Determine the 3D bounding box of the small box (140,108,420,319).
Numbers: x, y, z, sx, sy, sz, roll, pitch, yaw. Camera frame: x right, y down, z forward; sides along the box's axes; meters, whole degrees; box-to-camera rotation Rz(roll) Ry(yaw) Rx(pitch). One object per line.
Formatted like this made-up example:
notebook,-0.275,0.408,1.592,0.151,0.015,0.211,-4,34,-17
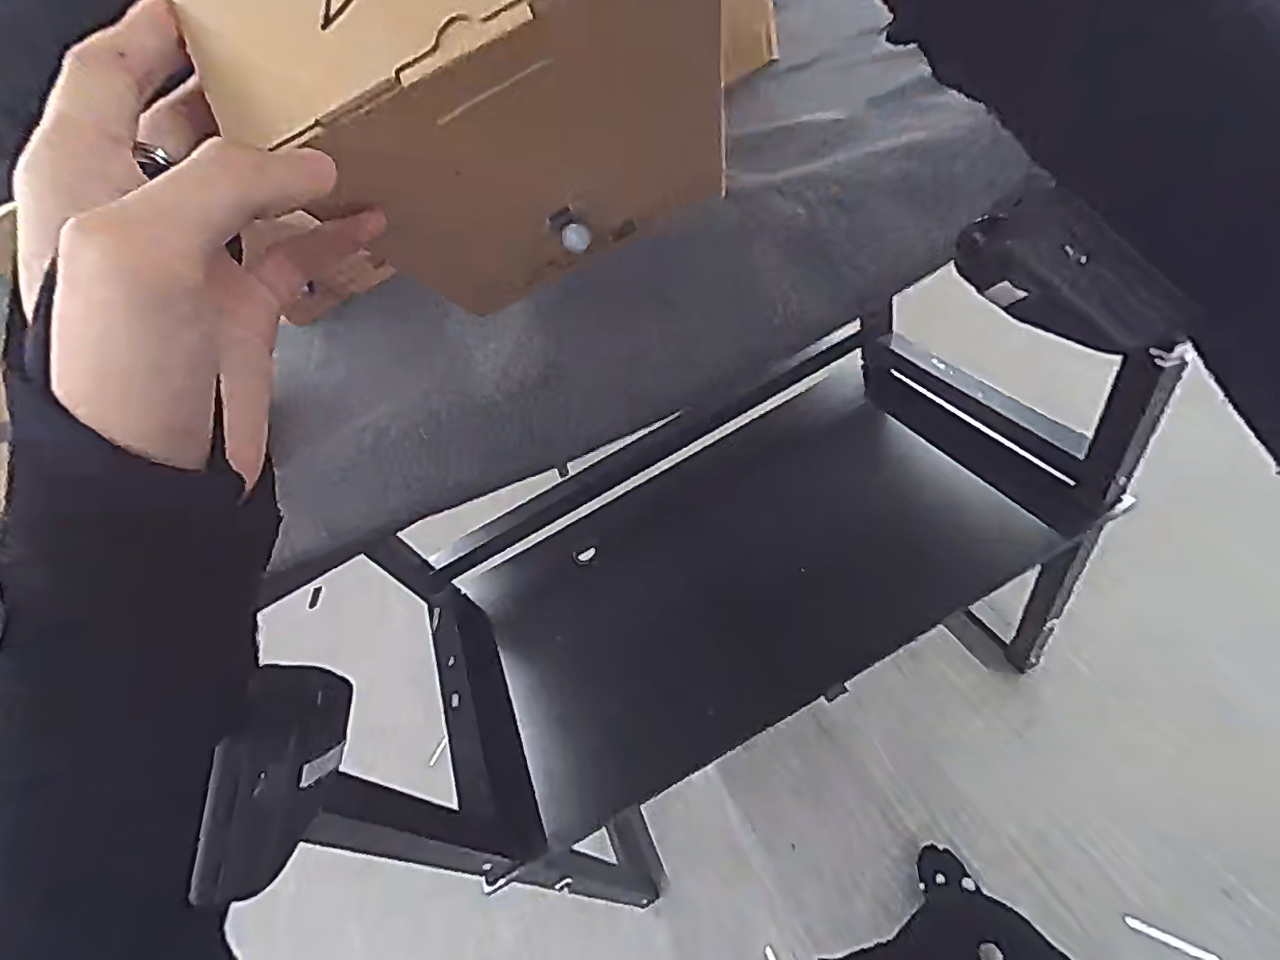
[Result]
small box,-0.319,-0.285,0.533,0.168,0.176,0.179,-30,44,-2

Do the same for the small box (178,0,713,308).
small box,-0.074,-0.211,0.249,0.168,0.176,0.179,-23,87,9
